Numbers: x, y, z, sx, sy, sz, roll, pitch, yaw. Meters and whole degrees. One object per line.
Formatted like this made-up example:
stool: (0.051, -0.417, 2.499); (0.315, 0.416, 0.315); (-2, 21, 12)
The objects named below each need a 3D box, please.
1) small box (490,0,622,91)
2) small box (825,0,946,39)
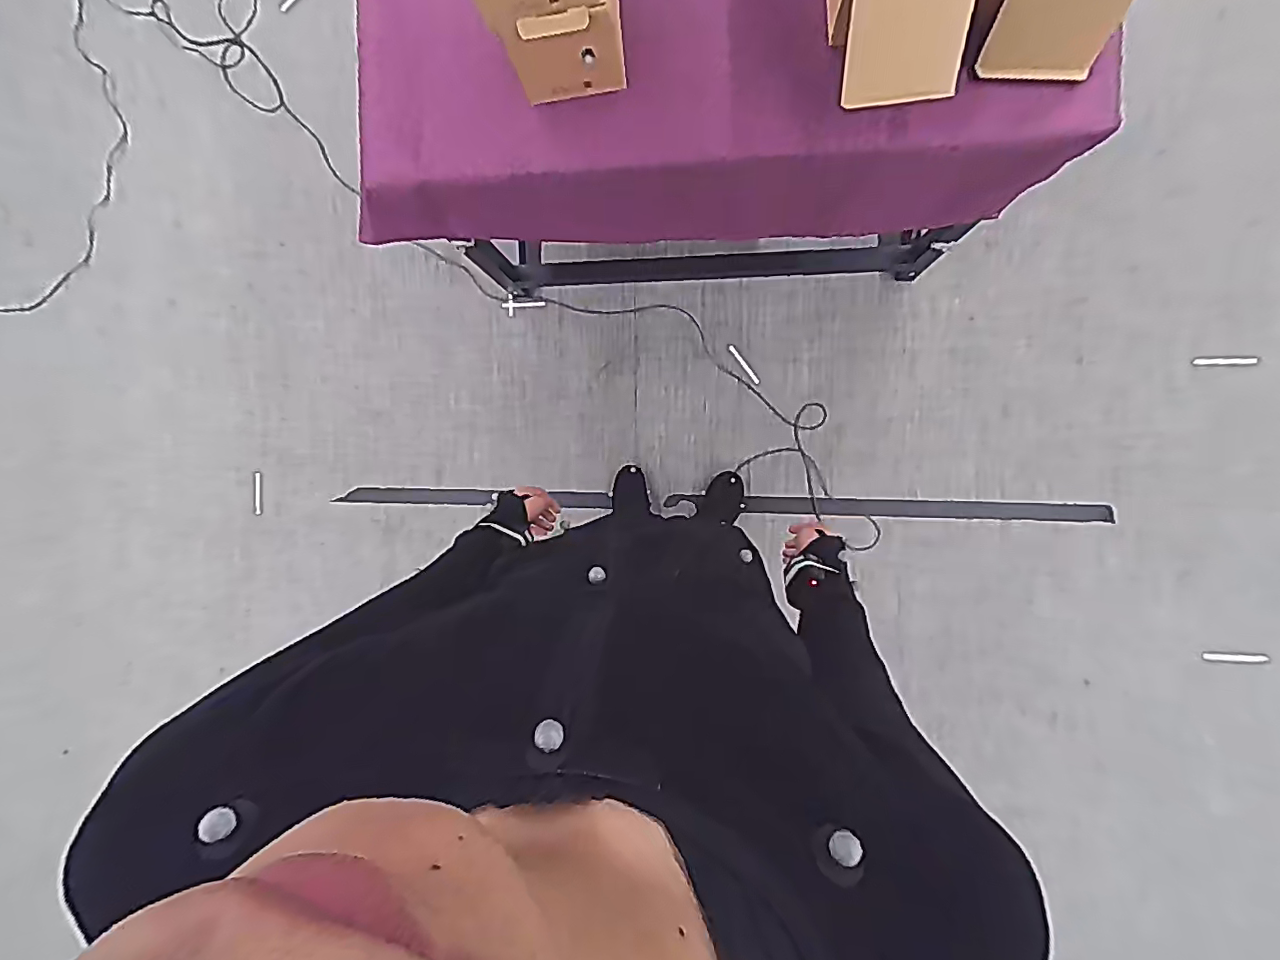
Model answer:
small box: (-0.122, -0.729, 0.819); (0.168, 0.176, 0.179); (-4, 91, 6)
small box: (0.360, -0.778, 0.760); (0.168, 0.176, 0.179); (-2, 92, 7)
